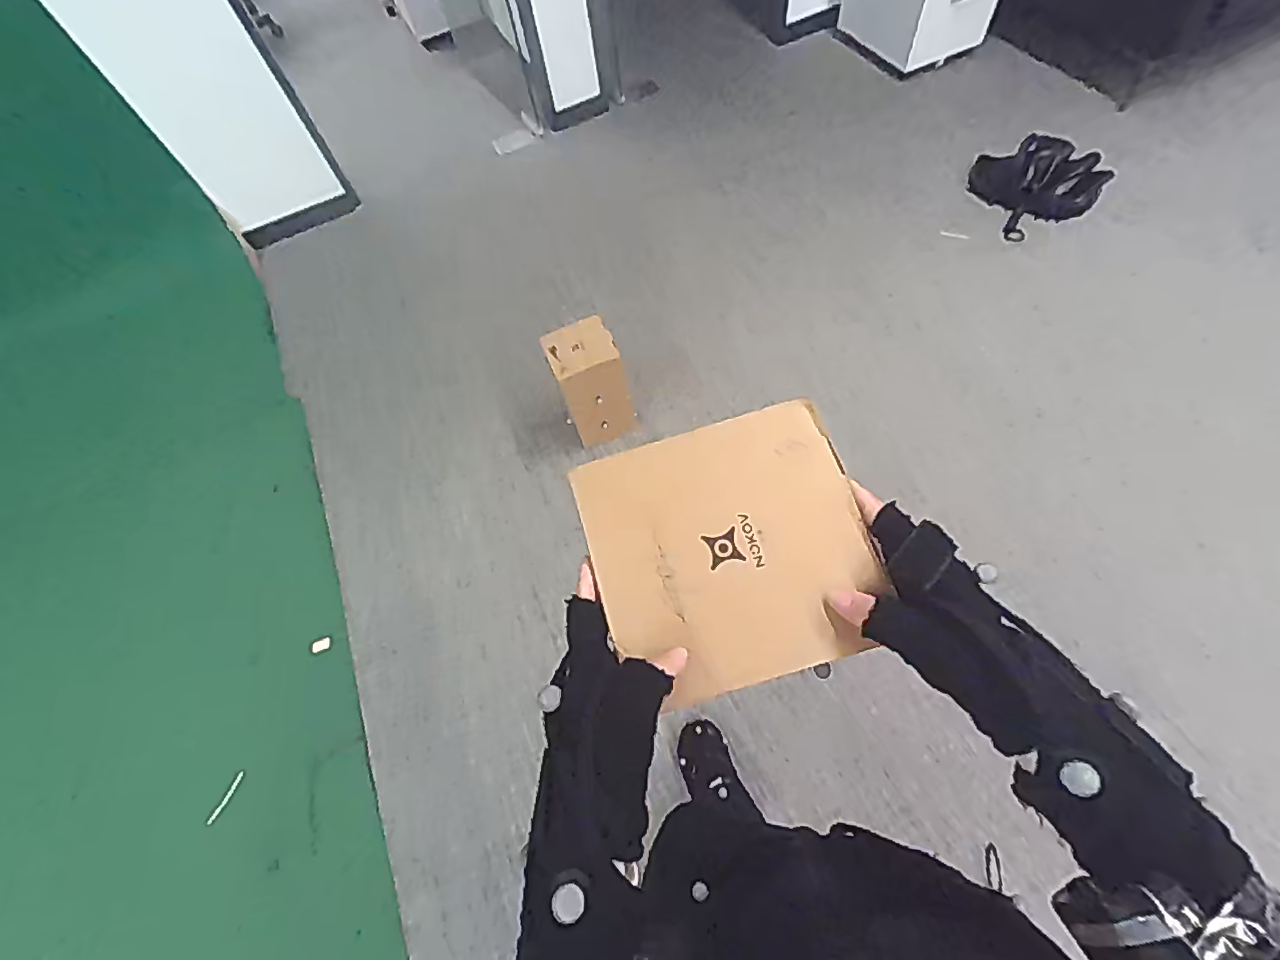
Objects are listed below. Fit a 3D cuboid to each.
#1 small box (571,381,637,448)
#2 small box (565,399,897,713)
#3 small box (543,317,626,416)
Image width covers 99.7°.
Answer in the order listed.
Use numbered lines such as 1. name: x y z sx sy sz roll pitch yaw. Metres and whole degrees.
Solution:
1. small box: -0.118 -0.227 1.620 0.179 0.176 0.168 -25 62 -7
2. small box: 0.059 0.064 0.425 0.179 0.176 0.168 -18 72 1
3. small box: -0.144 -0.307 1.479 0.179 0.176 0.168 -22 62 -5
